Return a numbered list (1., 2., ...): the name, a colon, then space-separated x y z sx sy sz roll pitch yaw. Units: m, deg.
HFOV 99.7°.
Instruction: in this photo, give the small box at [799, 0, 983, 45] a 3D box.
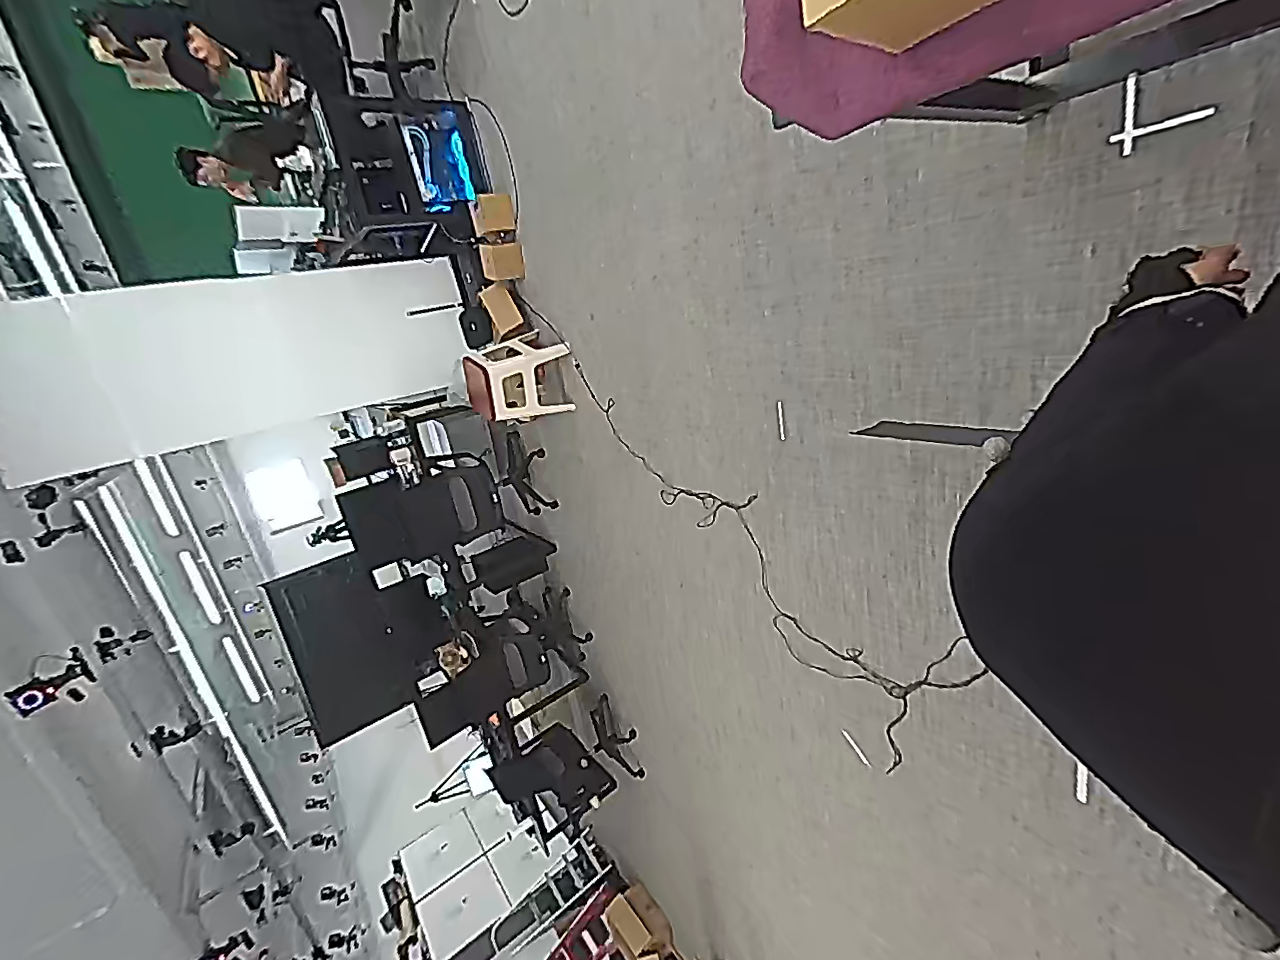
1. small box: 0.250 -0.513 0.460 0.179 0.176 0.168 7 114 51
